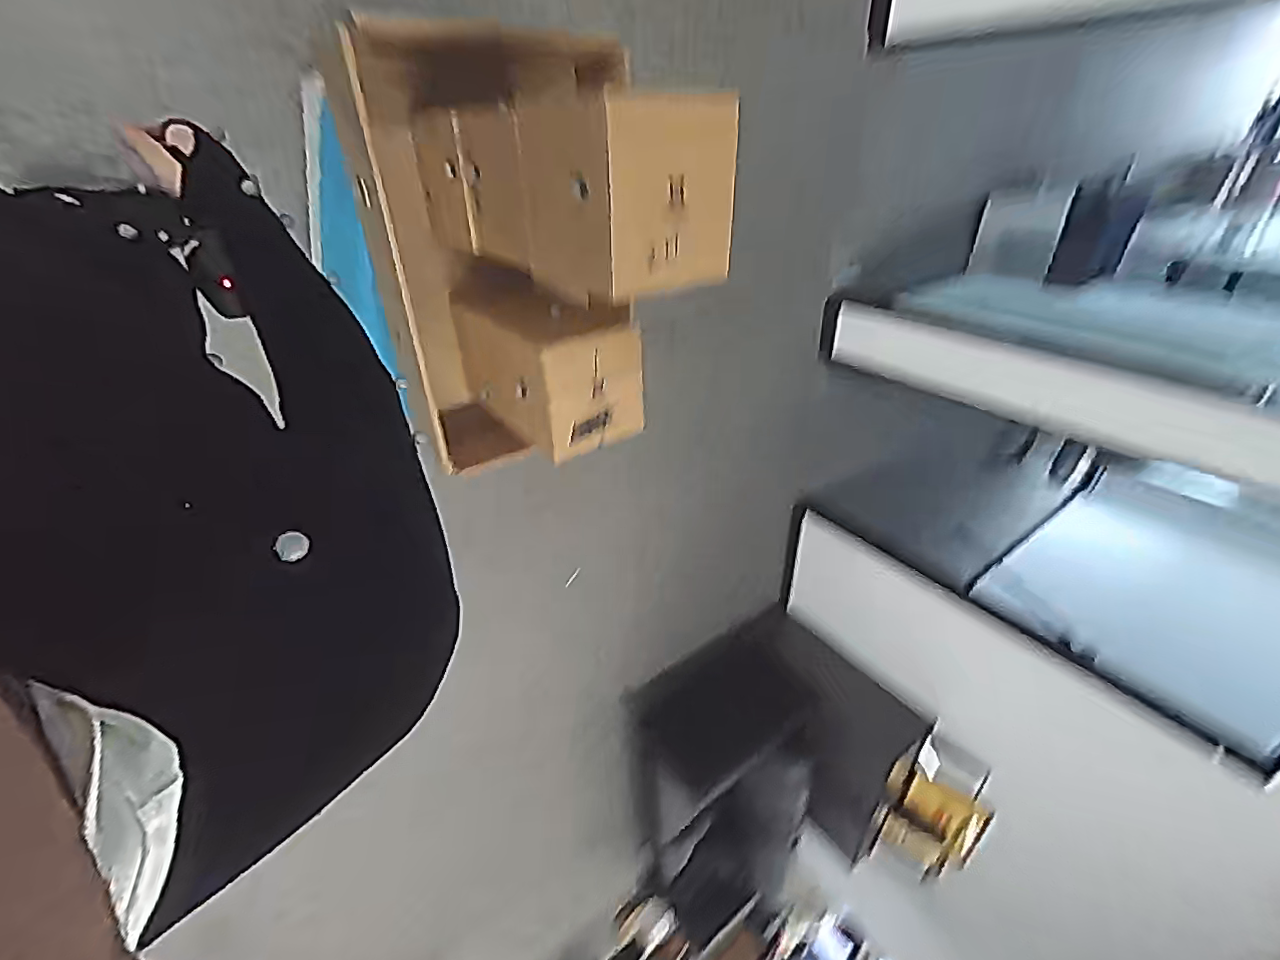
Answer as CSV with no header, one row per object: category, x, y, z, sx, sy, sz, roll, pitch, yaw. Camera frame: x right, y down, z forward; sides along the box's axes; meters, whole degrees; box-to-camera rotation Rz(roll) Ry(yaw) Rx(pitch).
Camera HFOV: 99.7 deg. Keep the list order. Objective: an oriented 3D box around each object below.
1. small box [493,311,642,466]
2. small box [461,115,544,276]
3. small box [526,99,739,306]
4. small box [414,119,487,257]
small box,-0.112,-0.151,0.848,0.168,0.176,0.179,-23,127,-31
small box,-0.110,-0.378,0.711,0.179,0.176,0.168,-22,129,-31
small box,-0.013,-0.307,0.599,0.168,0.176,0.179,-22,128,-31
small box,-0.213,-0.445,0.817,0.179,0.176,0.168,-23,129,-31
